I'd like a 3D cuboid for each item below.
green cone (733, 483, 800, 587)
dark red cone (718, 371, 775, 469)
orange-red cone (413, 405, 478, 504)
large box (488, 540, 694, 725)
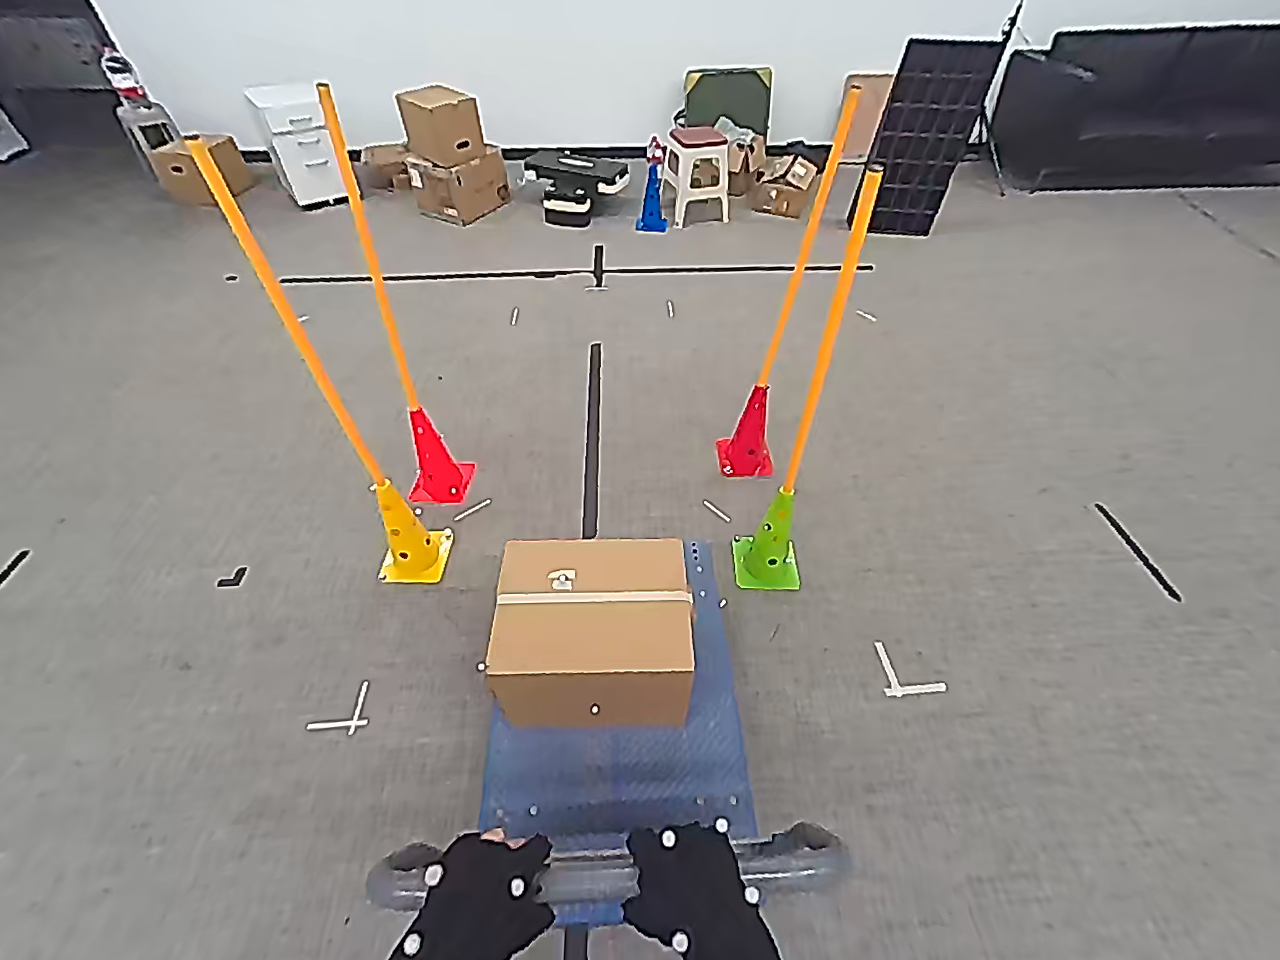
[{"bbox_3d":[0.414,0.147,1.640,0.202,0.368,0.200,2,47,0],"label":"green cone"},{"bbox_3d":[0.413,-0.223,1.954,0.201,0.394,0.202,0,48,-3],"label":"dark red cone"},{"bbox_3d":[-0.712,-0.113,1.872,0.198,0.360,0.199,5,46,3],"label":"orange-red cone"},{"bbox_3d":[-0.095,0.356,1.249,0.408,0.320,0.320,-1,48,0],"label":"large box"}]
